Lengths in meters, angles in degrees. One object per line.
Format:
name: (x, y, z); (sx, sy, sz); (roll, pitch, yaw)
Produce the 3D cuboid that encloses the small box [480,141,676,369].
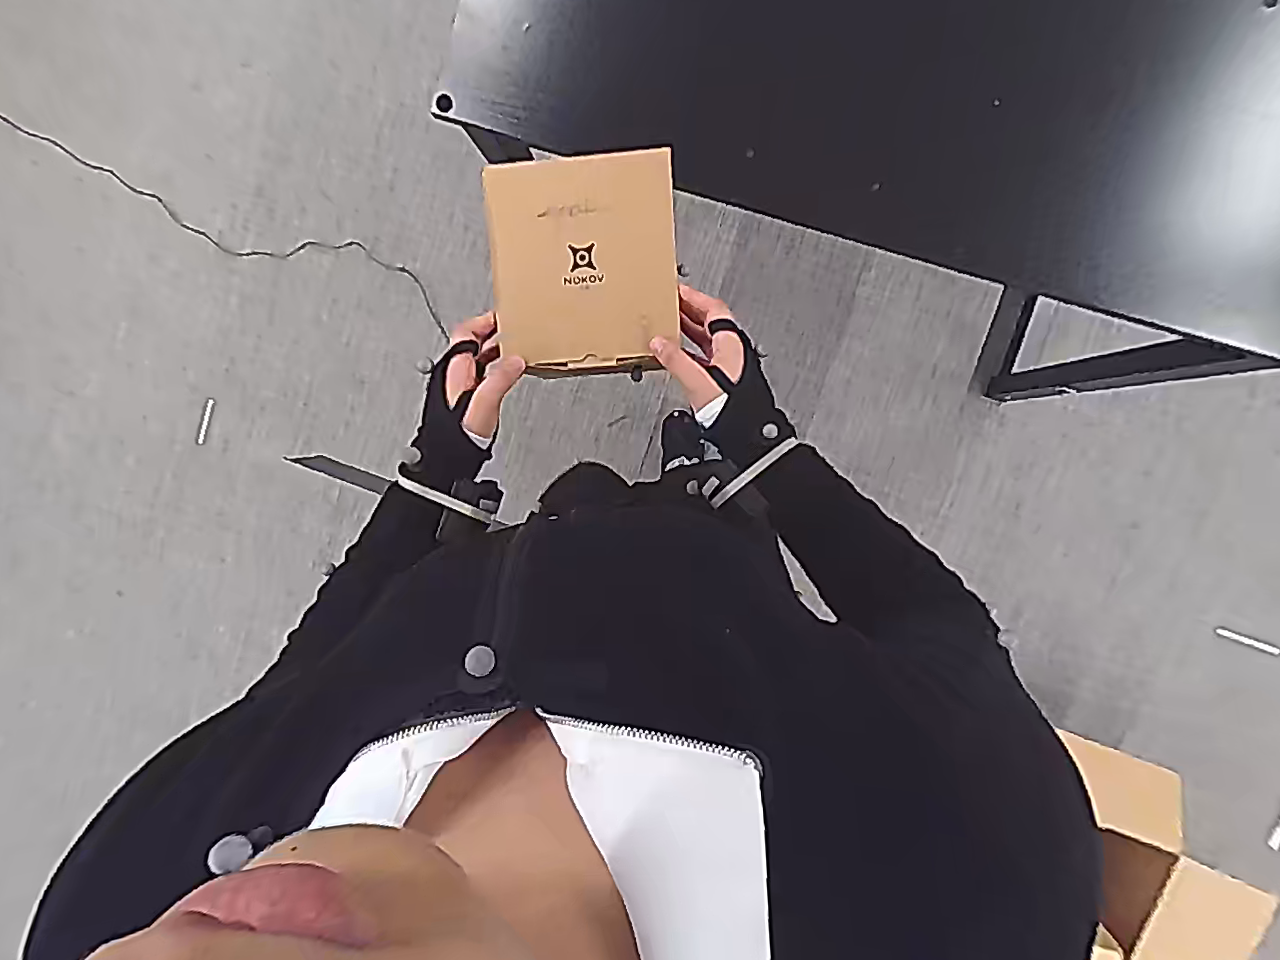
small box: (-0.049, -0.208, 0.552); (0.168, 0.176, 0.179); (-4, 97, 3)
